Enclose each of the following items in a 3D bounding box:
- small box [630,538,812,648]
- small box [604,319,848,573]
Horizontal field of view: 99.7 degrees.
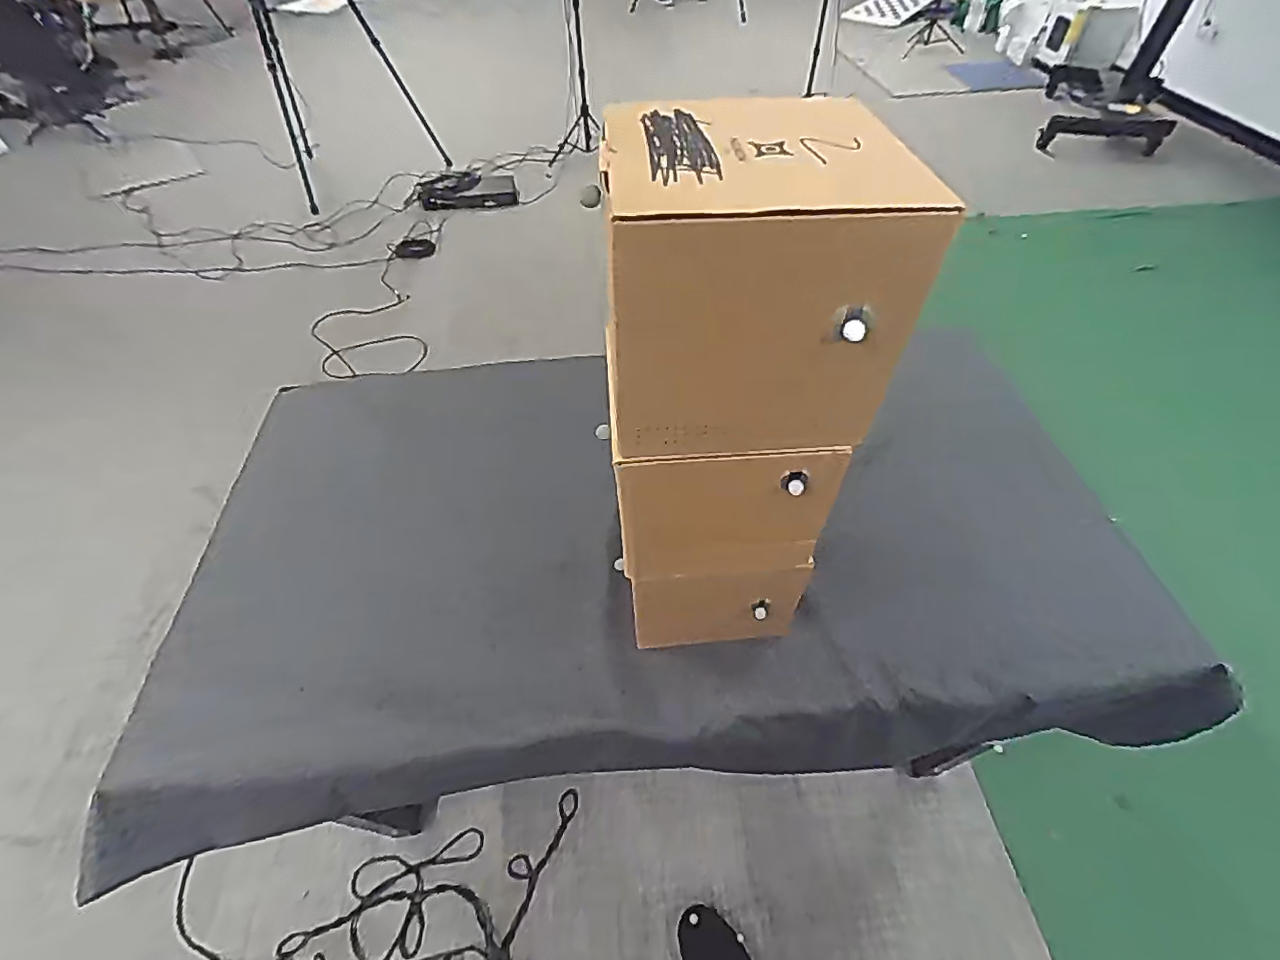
[{"bbox_3d":[0.074,0.078,0.622,0.179,0.176,0.168,-6,50,-2],"label":"small box"},{"bbox_3d":[0.062,-0.027,0.498,0.179,0.176,0.168,-3,50,-2],"label":"small box"}]
